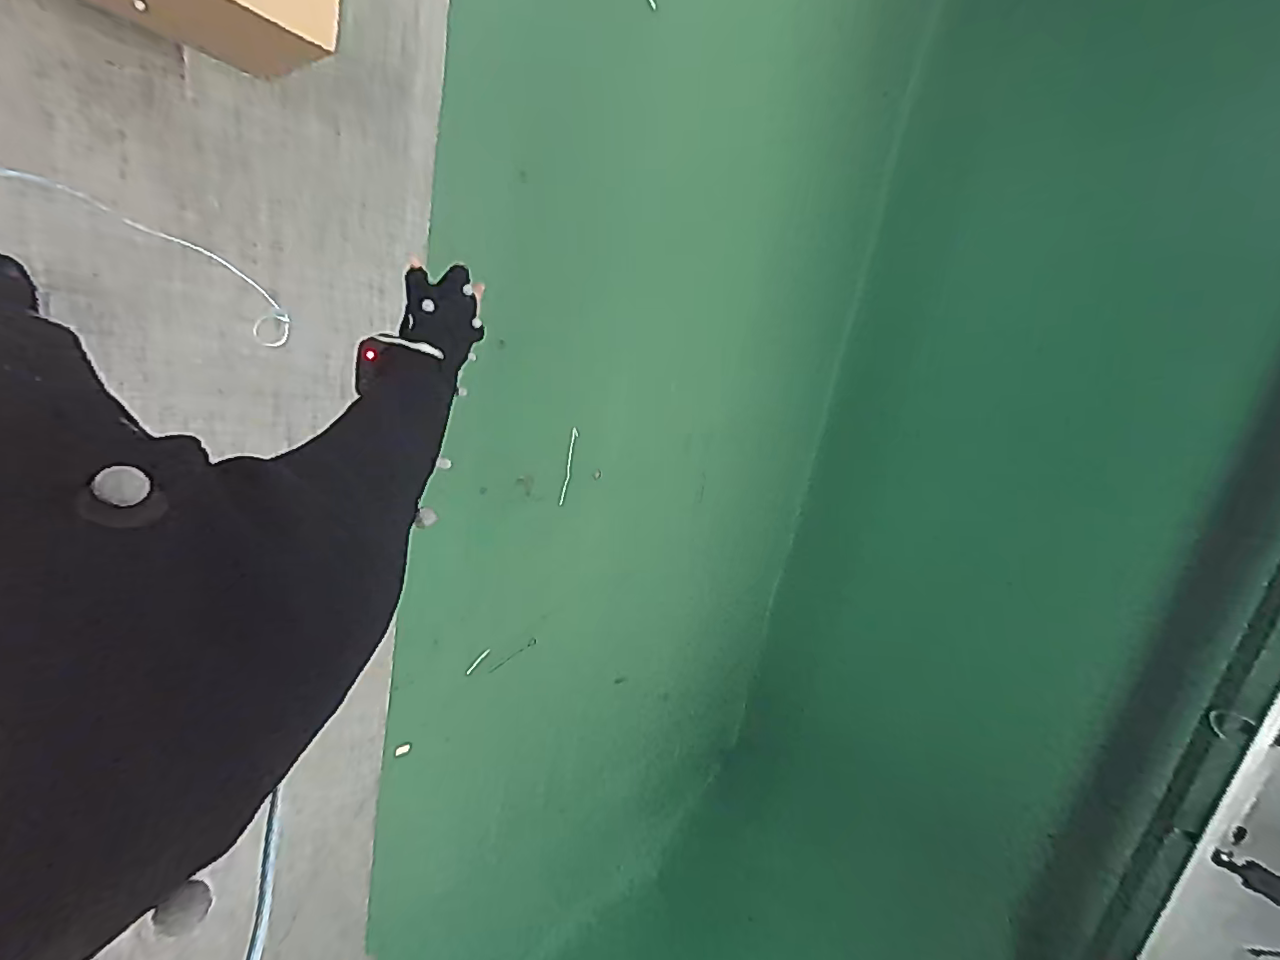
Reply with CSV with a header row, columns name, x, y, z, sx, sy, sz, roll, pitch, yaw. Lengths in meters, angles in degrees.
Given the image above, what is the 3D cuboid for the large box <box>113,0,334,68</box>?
name,x,y,z,sx,sy,sz,roll,pitch,yaw
large box,-0.684,-0.853,0.740,0.408,0.320,0.320,-3,110,-50
